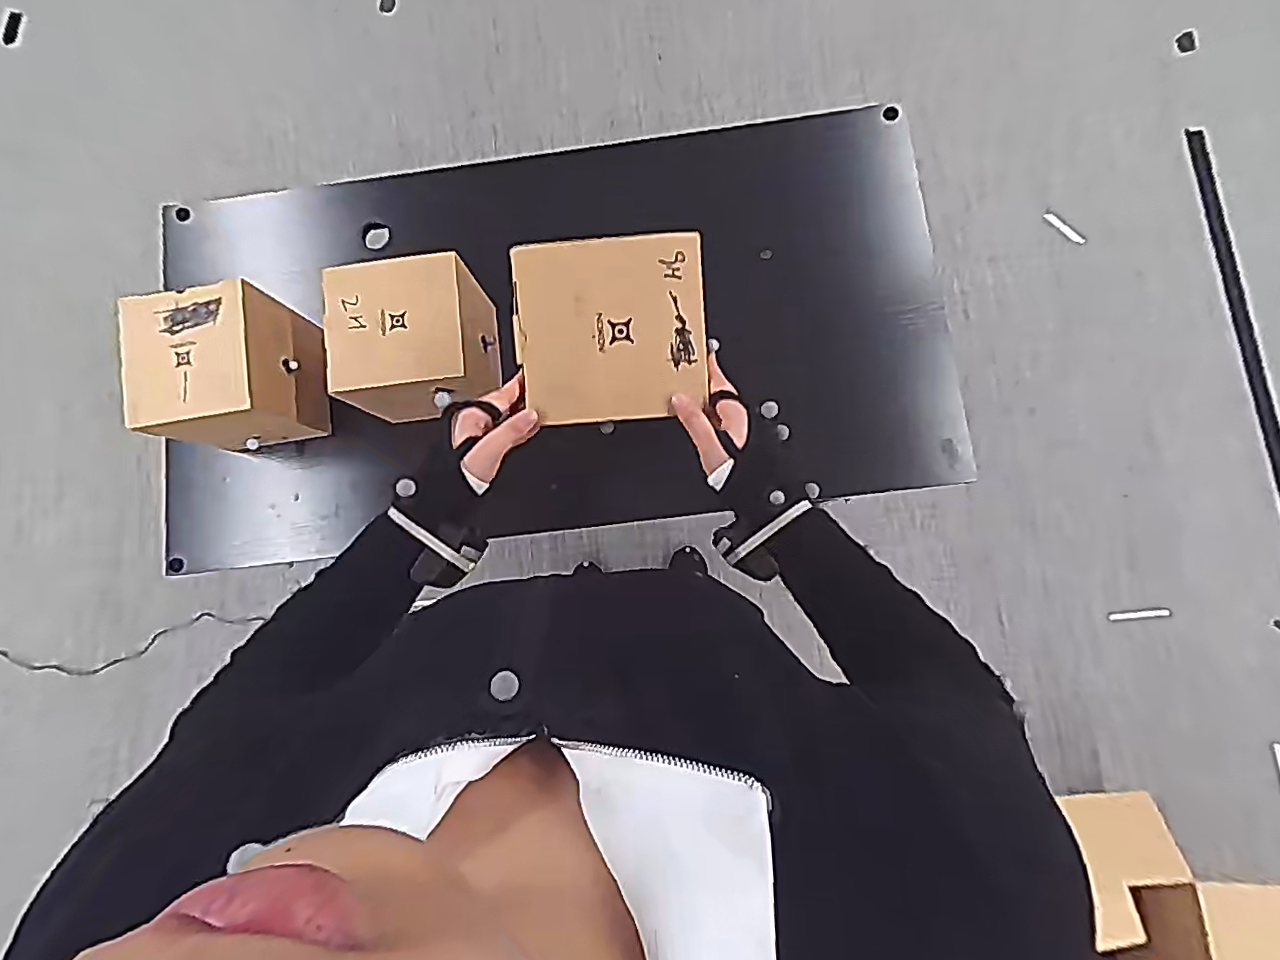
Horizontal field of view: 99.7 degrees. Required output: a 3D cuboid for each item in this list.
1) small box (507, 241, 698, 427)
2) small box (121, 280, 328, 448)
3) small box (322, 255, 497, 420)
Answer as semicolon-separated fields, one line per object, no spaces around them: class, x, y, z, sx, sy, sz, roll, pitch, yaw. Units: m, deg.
small box;-0.032;-0.144;0.591;0.179;0.176;0.168;-4;96;1
small box;-0.573;-0.153;0.766;0.168;0.176;0.179;-9;84;2
small box;-0.308;-0.188;0.758;0.179;0.176;0.168;-7;83;2
